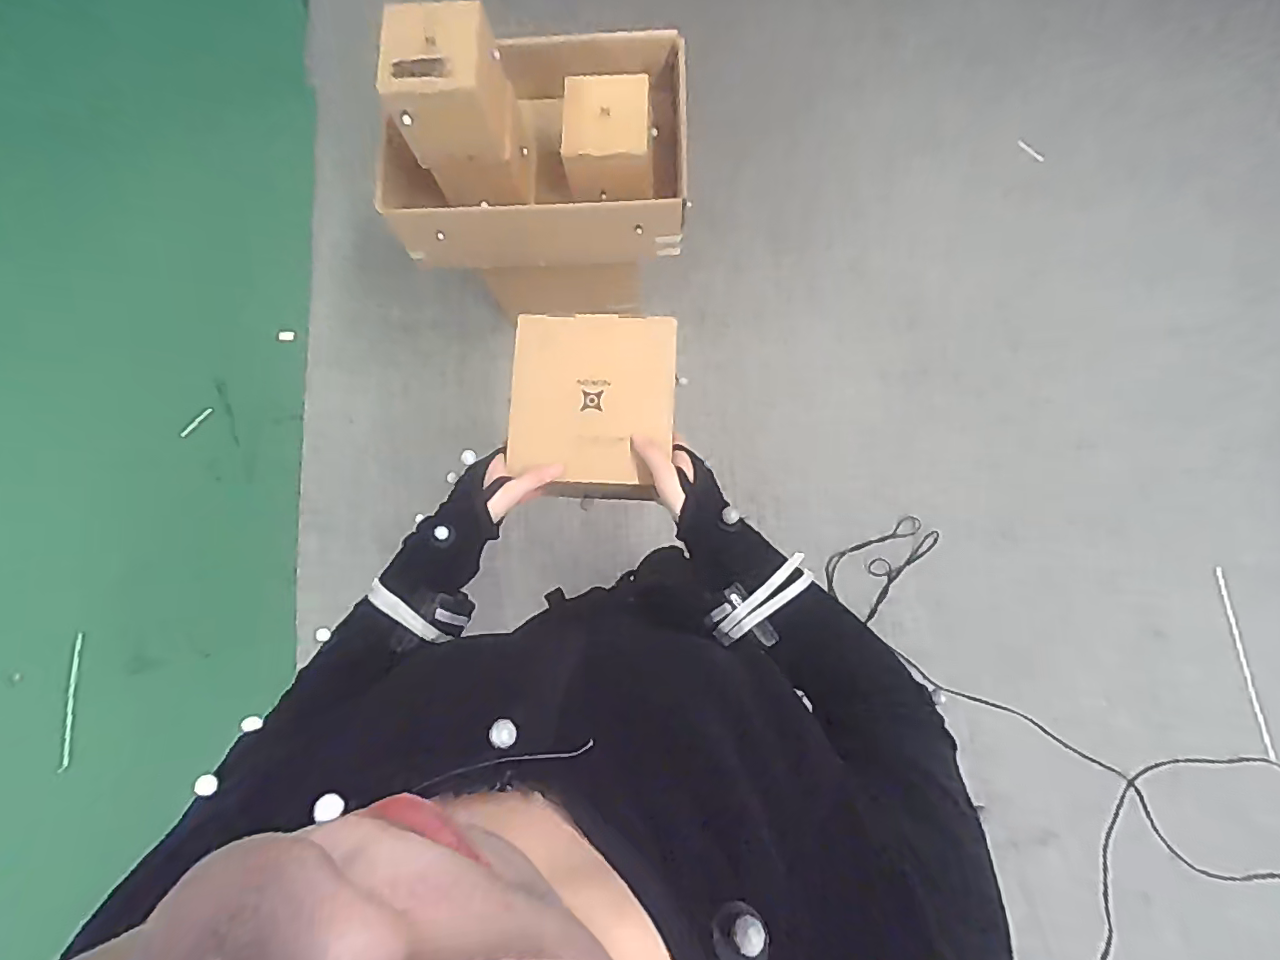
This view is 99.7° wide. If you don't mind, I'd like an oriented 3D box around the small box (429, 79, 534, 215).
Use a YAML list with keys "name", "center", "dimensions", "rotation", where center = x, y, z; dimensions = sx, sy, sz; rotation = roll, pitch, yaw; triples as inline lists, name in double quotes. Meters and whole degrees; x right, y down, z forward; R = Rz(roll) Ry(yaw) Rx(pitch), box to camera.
- name: "small box"
  center: [-0.322, -0.688, 1.129]
  dimensions: [0.168, 0.176, 0.179]
  rotation: [-2, 81, 3]

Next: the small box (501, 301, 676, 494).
- name: "small box"
  center: [-0.047, -0.083, 0.618]
  dimensions: [0.168, 0.176, 0.179]
  rotation: [3, 83, 4]
